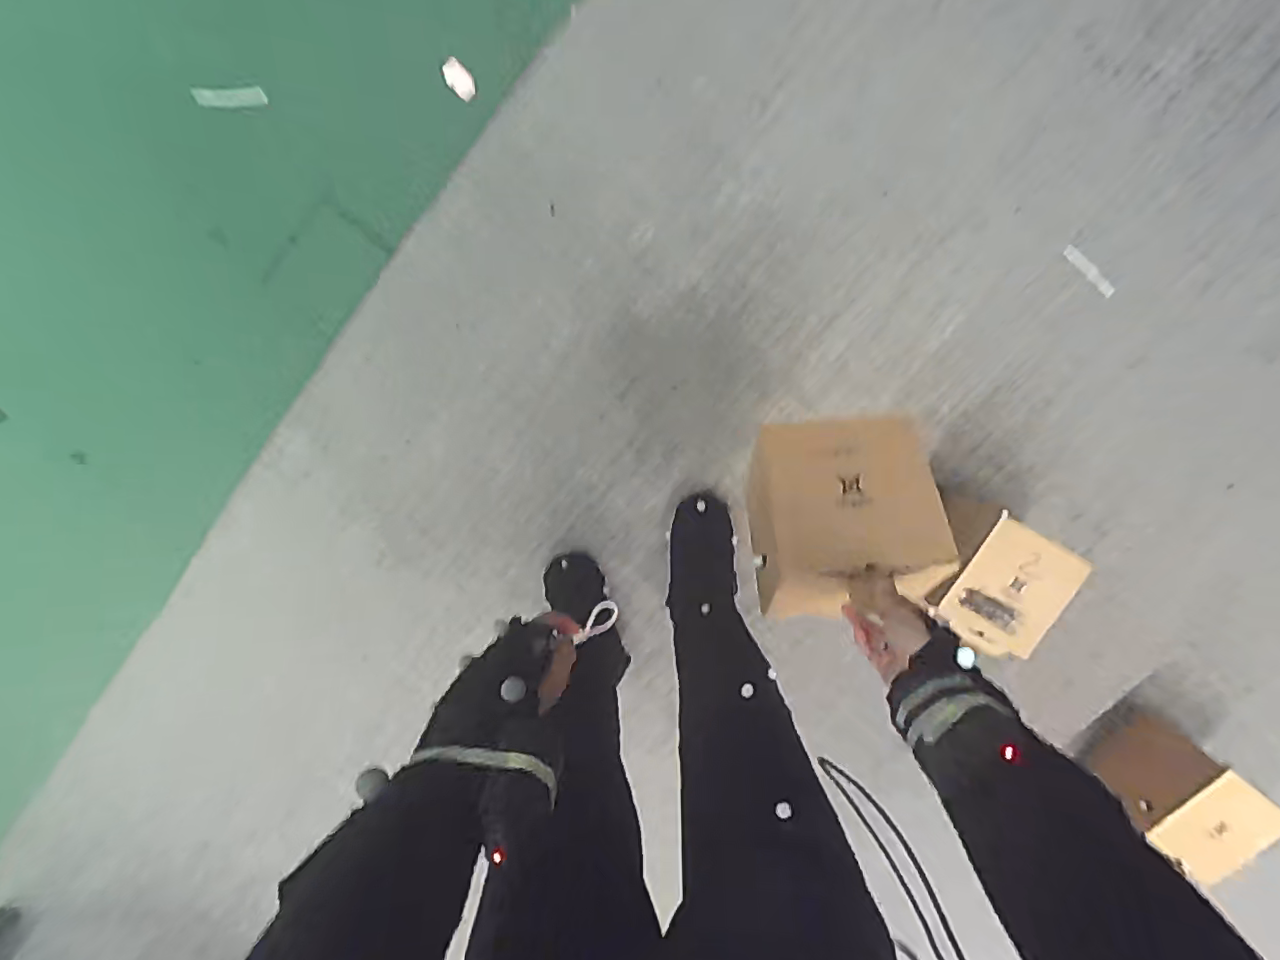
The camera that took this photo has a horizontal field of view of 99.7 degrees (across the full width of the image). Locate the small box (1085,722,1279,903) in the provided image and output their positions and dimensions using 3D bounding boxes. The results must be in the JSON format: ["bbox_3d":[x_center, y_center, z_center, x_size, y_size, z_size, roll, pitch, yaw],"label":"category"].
[{"bbox_3d":[0.951,0.569,0.947,0.168,0.176,0.179,38,101,-5],"label":"small box"}]
